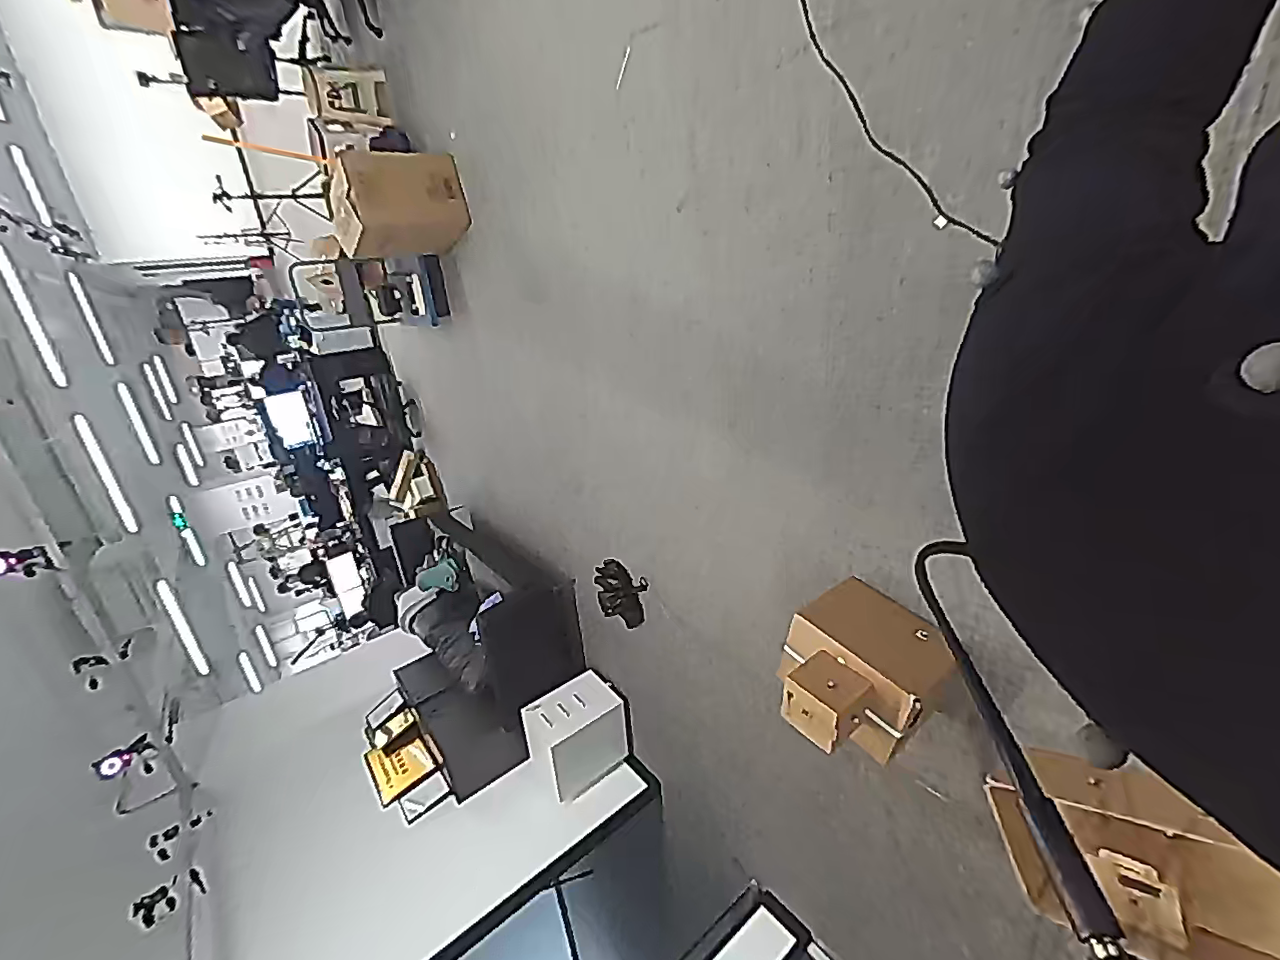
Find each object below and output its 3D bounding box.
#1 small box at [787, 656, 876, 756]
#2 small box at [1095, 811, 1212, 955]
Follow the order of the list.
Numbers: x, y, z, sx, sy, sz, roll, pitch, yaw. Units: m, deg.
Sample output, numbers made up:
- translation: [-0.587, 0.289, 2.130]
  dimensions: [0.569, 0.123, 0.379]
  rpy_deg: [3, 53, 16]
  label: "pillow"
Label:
- translation: [0.556, 0.645, 1.570]
  dimensions: [0.179, 0.176, 0.168]
  rpy_deg: [28, 128, 45]
  label: "small box"
- translation: [1.210, 0.933, 1.274]
  dimensions: [0.168, 0.176, 0.179]
  rpy_deg: [-5, 105, 55]
  label: "small box"
